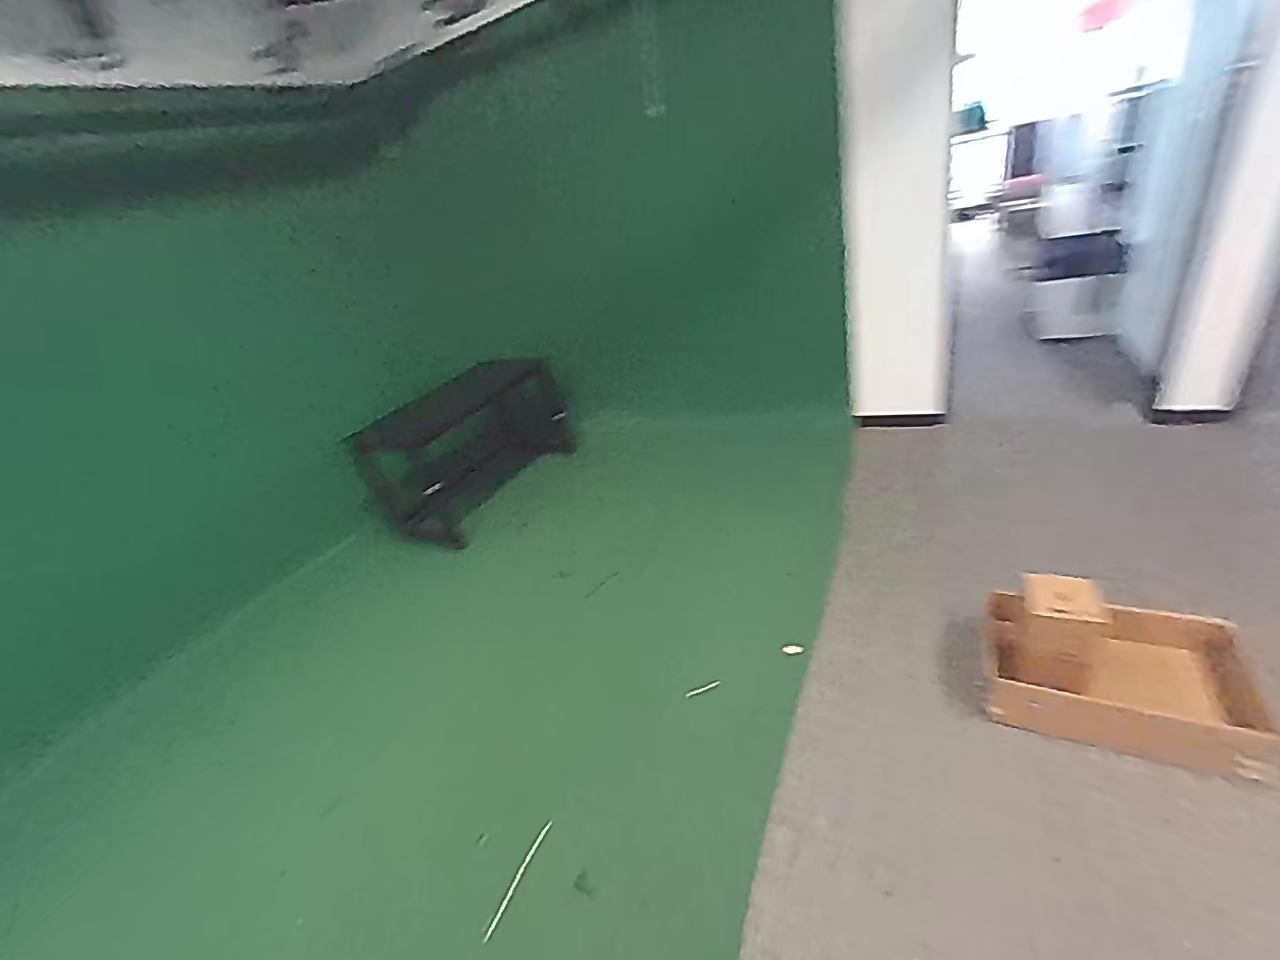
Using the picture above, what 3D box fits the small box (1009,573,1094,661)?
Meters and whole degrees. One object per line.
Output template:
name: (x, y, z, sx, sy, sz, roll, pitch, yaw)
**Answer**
small box: (1.212, 0.404, 1.606, 0.168, 0.176, 0.179, 1, 33, 27)
